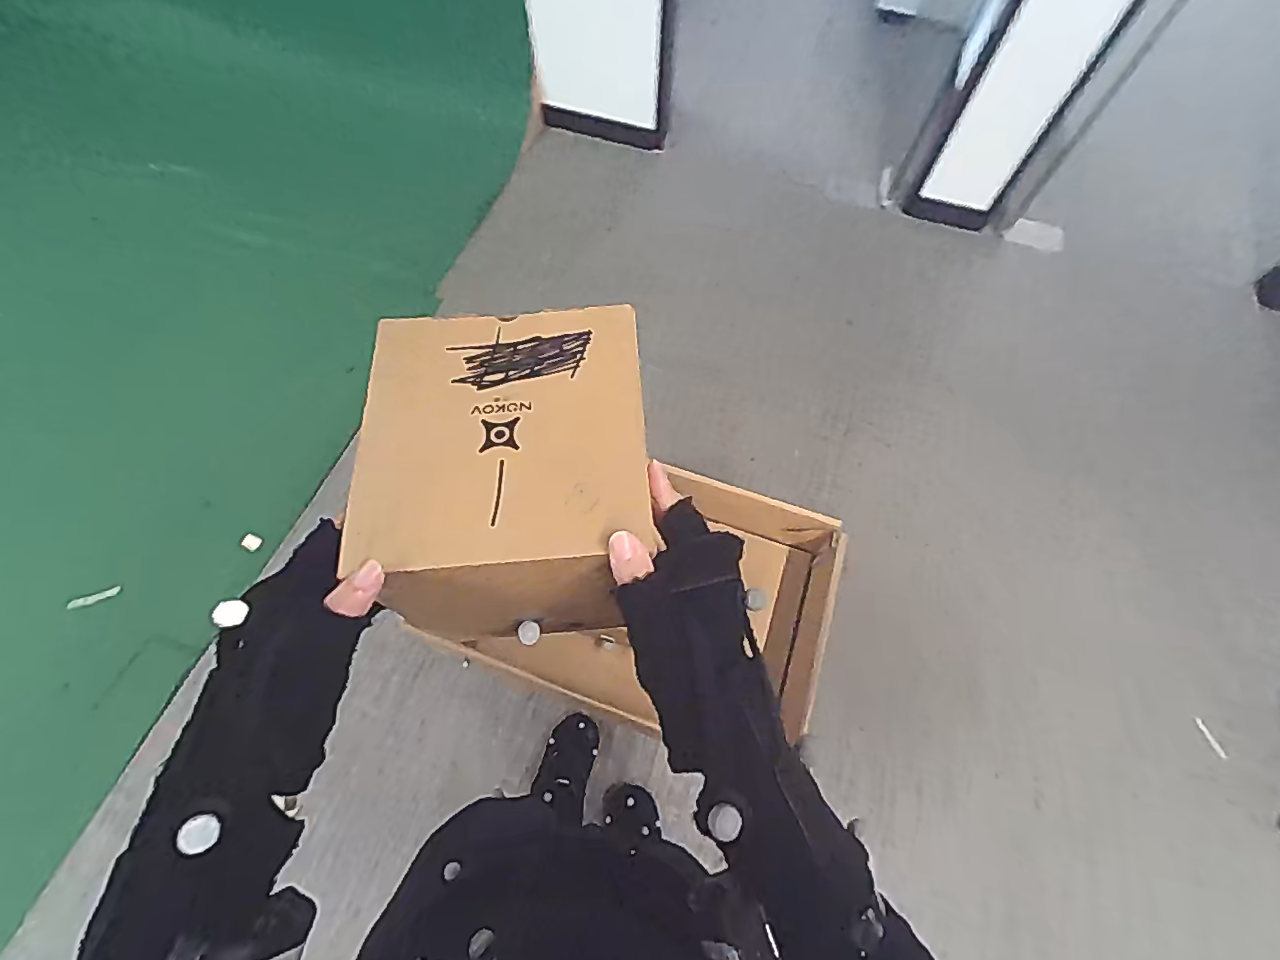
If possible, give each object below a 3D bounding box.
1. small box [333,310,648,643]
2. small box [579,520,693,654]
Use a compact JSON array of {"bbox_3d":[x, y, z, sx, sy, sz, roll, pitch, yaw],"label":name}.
[{"bbox_3d":[-0.083,0.007,0.389,0.168,0.176,0.179,-6,63,-1],"label":"small box"},{"bbox_3d":[-0.017,0.172,0.895,0.168,0.176,0.179,14,66,6],"label":"small box"}]
